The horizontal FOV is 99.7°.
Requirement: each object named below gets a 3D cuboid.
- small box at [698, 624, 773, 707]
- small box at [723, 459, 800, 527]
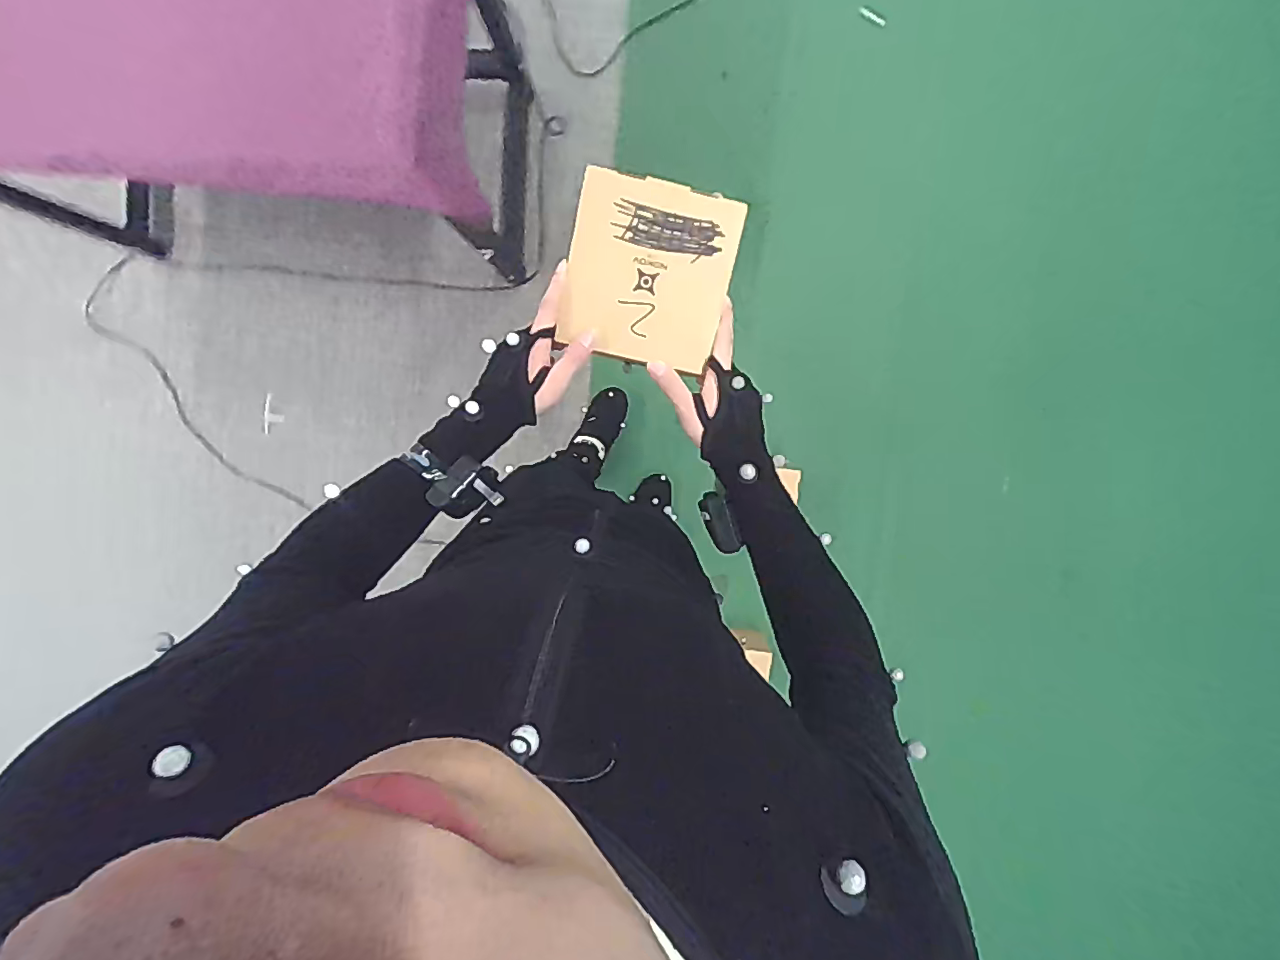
[{"bbox_3d":[0.271,0.530,1.569,0.179,0.176,0.168,8,94,2],"label":"small box"},{"bbox_3d":[0.338,0.033,1.535,0.179,0.176,0.168,7,94,1],"label":"small box"}]
